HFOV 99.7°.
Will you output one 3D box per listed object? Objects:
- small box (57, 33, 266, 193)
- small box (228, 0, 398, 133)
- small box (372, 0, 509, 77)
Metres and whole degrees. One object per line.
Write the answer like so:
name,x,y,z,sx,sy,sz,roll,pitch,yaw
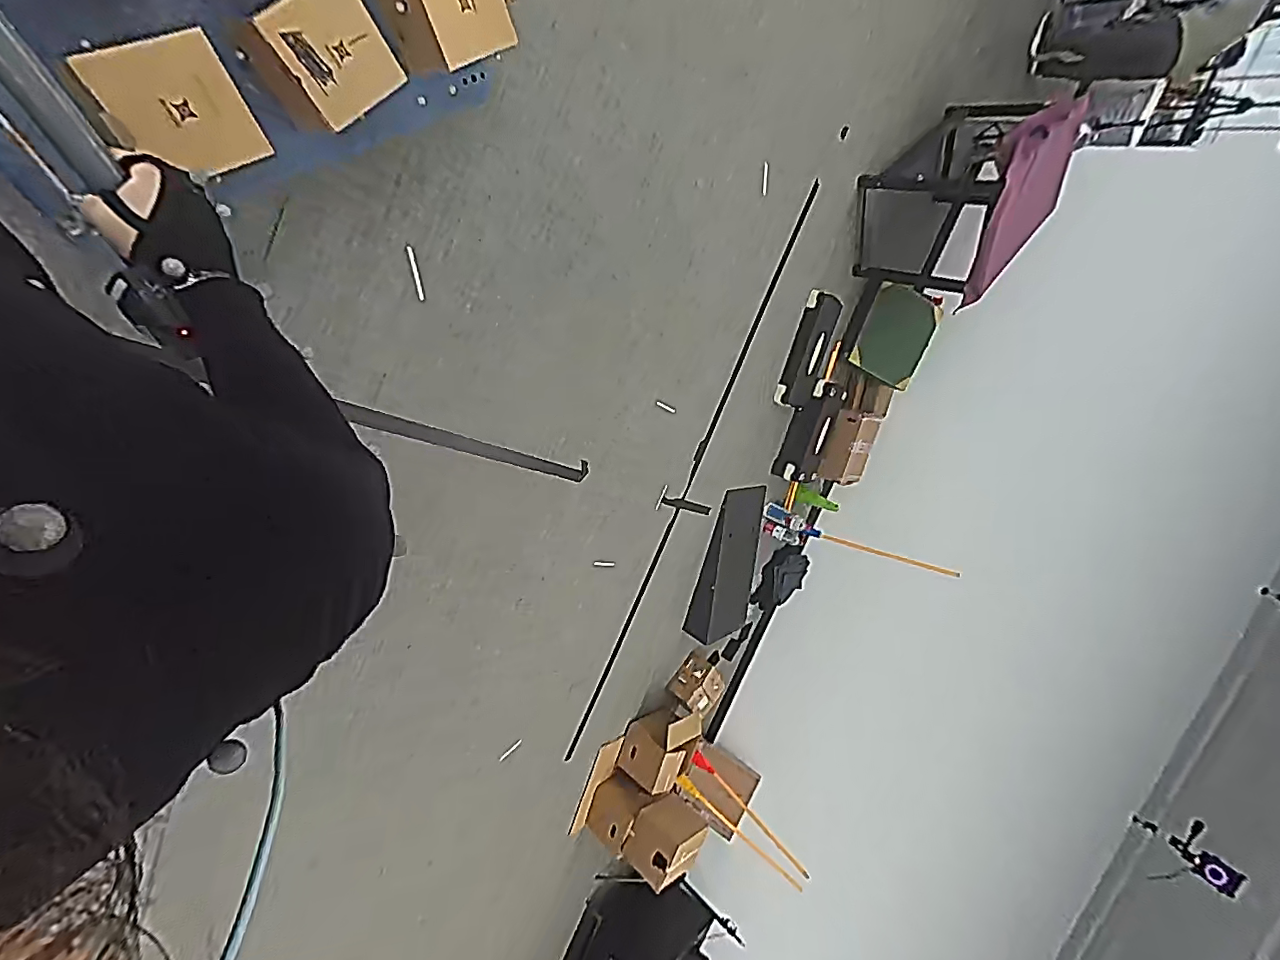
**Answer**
small box,-0.740,-0.565,0.840,0.179,0.176,0.168,-43,140,-27
small box,-0.572,-0.732,0.942,0.179,0.176,0.168,-51,143,-17
small box,-0.396,-0.910,1.050,0.179,0.176,0.168,-45,140,-24
